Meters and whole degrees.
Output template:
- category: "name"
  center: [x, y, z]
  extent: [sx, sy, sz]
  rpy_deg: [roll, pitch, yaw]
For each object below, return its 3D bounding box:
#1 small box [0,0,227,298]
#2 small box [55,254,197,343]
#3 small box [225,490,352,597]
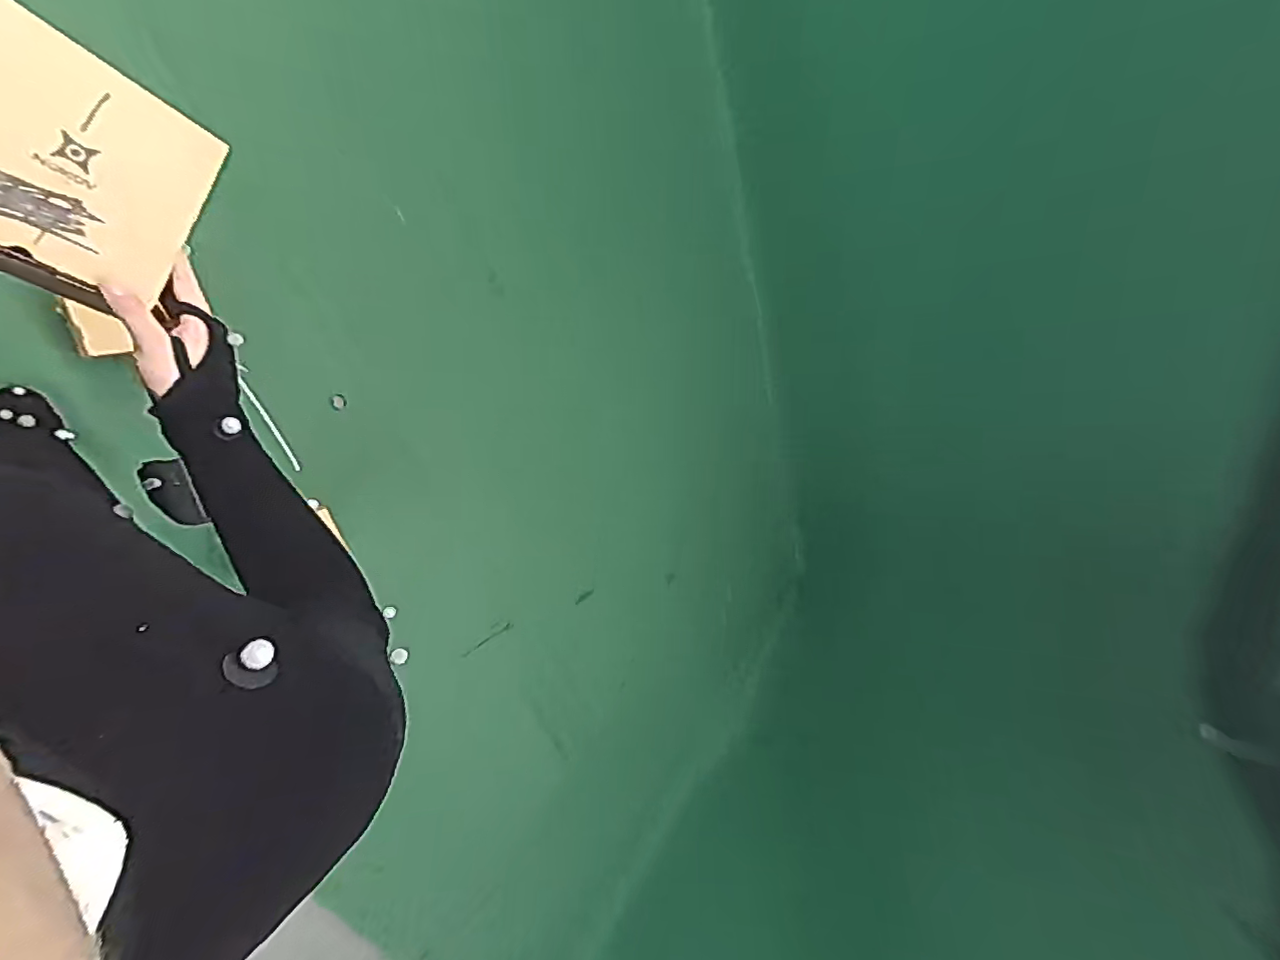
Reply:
- category: "small box"
  center: [-0.509, -0.276, 0.471]
  extent: [0.168, 0.176, 0.179]
  rpy_deg: [27, 78, -52]
- category: "small box"
  center: [-1.064, -0.377, 1.117]
  extent: [0.179, 0.176, 0.168]
  rpy_deg: [-24, 116, -42]
- category: "small box"
  center: [-0.819, 0.138, 1.262]
  extent: [0.179, 0.176, 0.168]
  rpy_deg: [-34, 123, -39]
